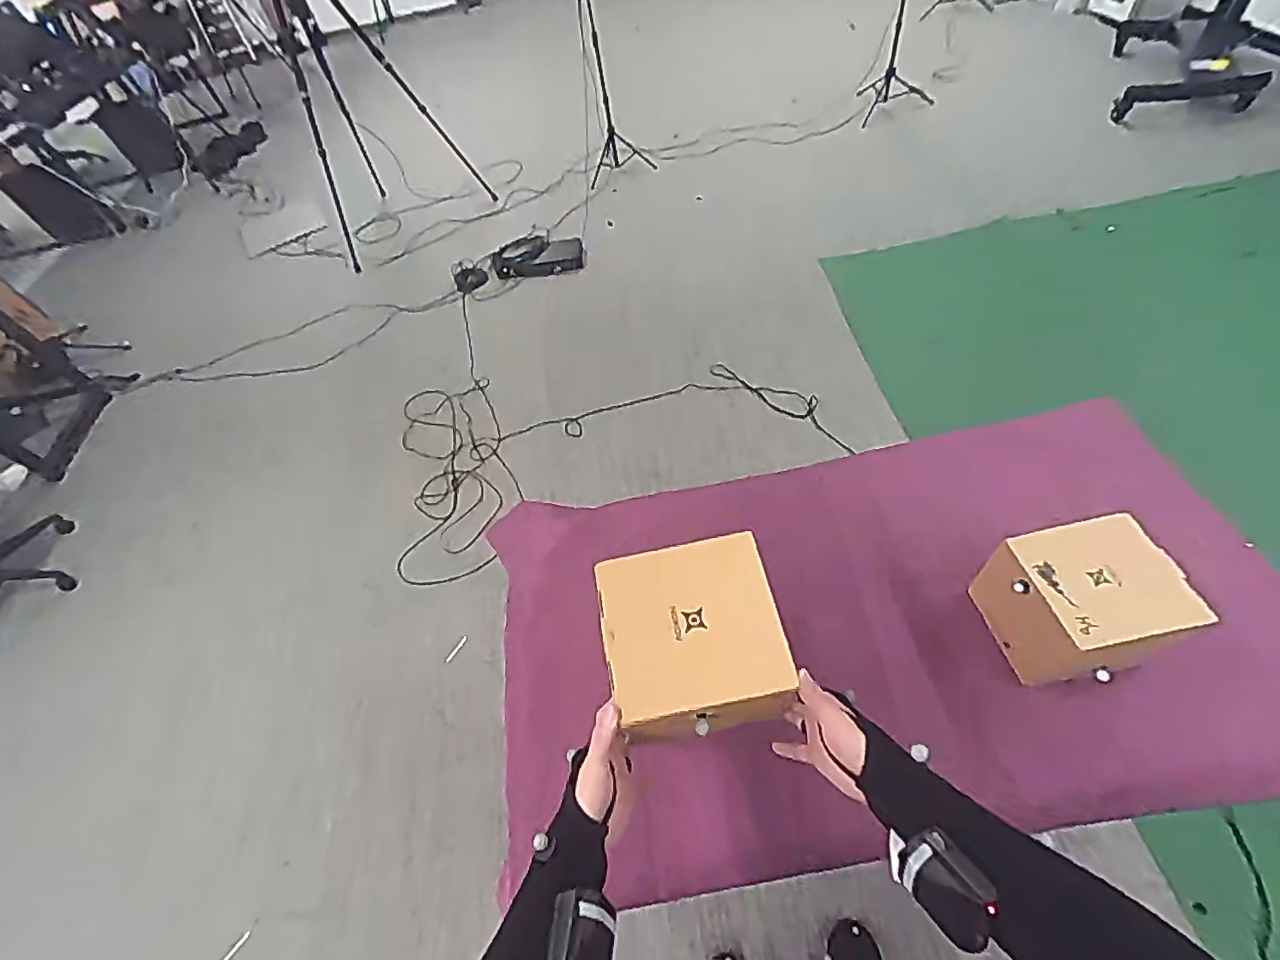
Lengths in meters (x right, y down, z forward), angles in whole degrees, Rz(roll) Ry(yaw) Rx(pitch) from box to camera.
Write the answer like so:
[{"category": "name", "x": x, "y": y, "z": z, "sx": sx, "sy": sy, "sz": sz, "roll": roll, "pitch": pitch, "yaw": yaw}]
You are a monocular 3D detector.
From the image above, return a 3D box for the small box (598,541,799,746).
[{"category": "small box", "x": 0.061, "y": 0.191, "z": 0.609, "sx": 0.179, "sy": 0.176, "sz": 0.168, "roll": -13, "pitch": 58, "yaw": 2}]

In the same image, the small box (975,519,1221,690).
[{"category": "small box", "x": 0.625, "y": 0.181, "z": 0.771, "sx": 0.179, "sy": 0.176, "sz": 0.168, "roll": -13, "pitch": 52, "yaw": 2}]
